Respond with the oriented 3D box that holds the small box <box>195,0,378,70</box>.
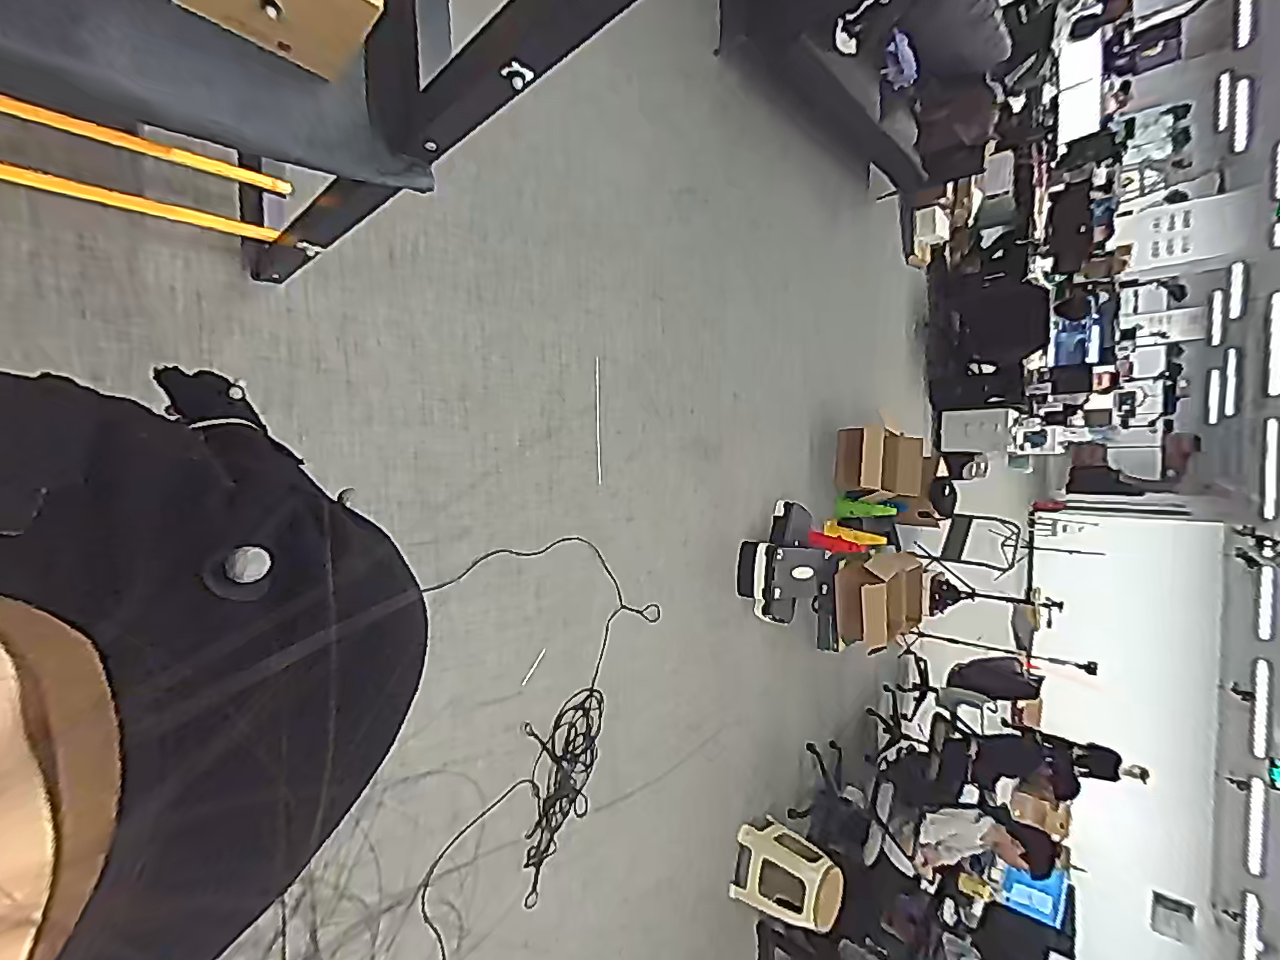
[{"bbox_3d":[-0.401,-0.611,0.594,0.168,0.176,0.179,1,90,-48],"label":"small box"}]
